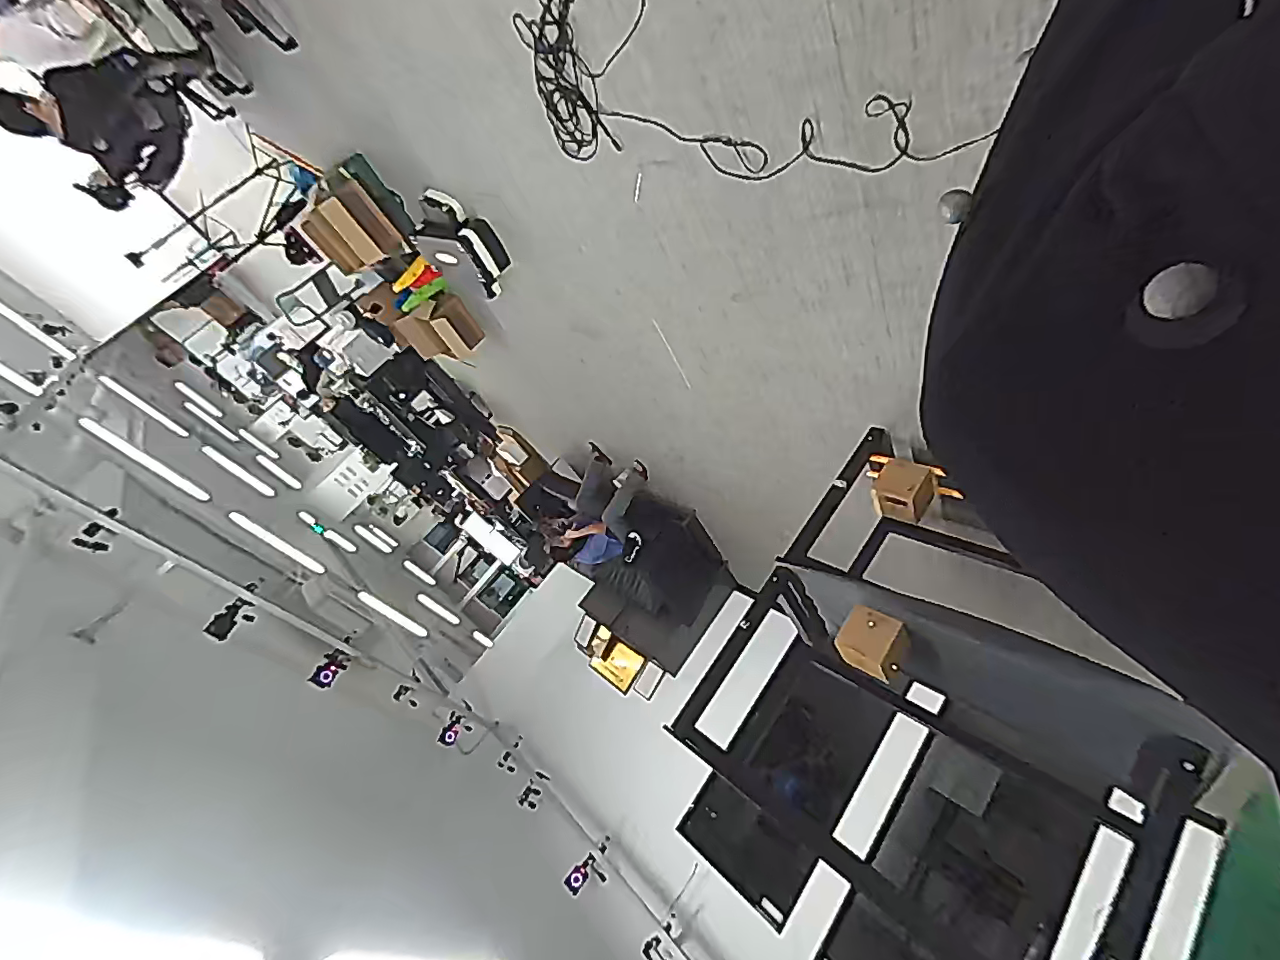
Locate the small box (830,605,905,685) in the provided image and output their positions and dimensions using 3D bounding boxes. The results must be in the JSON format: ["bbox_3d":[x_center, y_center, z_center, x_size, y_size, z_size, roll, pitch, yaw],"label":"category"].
[{"bbox_3d":[0.781,0.559,1.843,0.168,0.176,0.179,19,154,45],"label":"small box"}]
